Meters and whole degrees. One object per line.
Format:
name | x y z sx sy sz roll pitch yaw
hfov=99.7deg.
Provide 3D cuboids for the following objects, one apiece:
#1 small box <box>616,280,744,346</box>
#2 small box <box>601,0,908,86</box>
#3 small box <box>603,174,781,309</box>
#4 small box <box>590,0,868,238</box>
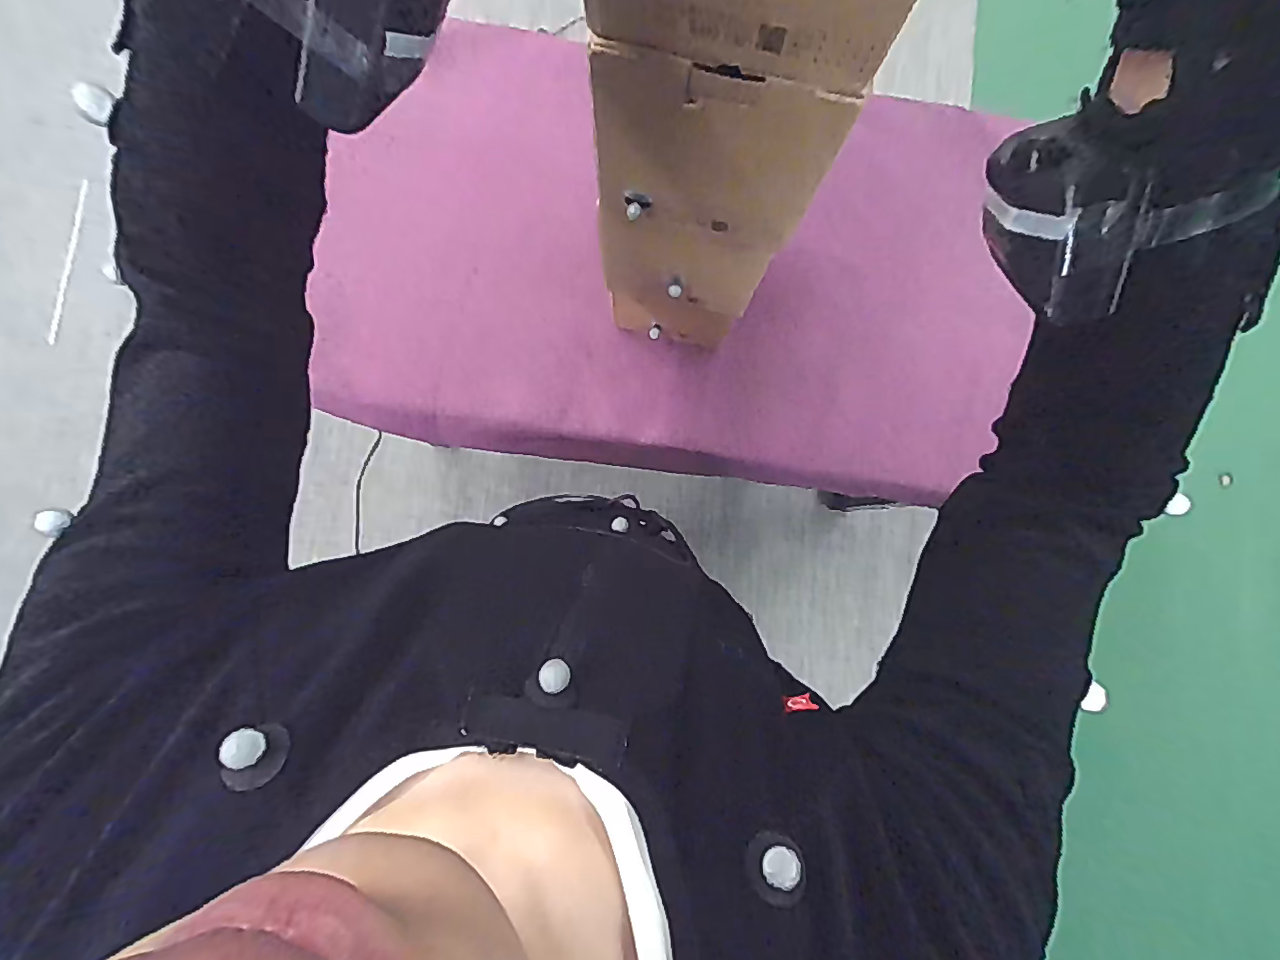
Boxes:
small box | 0.062 -0.305 0.727 0.168 0.176 0.179 12 85 0
small box | 0.072 -0.332 0.238 0.168 0.176 0.179 14 84 0
small box | 0.060 -0.306 0.563 0.168 0.176 0.179 11 84 0
small box | 0.066 -0.312 0.400 0.168 0.176 0.179 12 84 0
